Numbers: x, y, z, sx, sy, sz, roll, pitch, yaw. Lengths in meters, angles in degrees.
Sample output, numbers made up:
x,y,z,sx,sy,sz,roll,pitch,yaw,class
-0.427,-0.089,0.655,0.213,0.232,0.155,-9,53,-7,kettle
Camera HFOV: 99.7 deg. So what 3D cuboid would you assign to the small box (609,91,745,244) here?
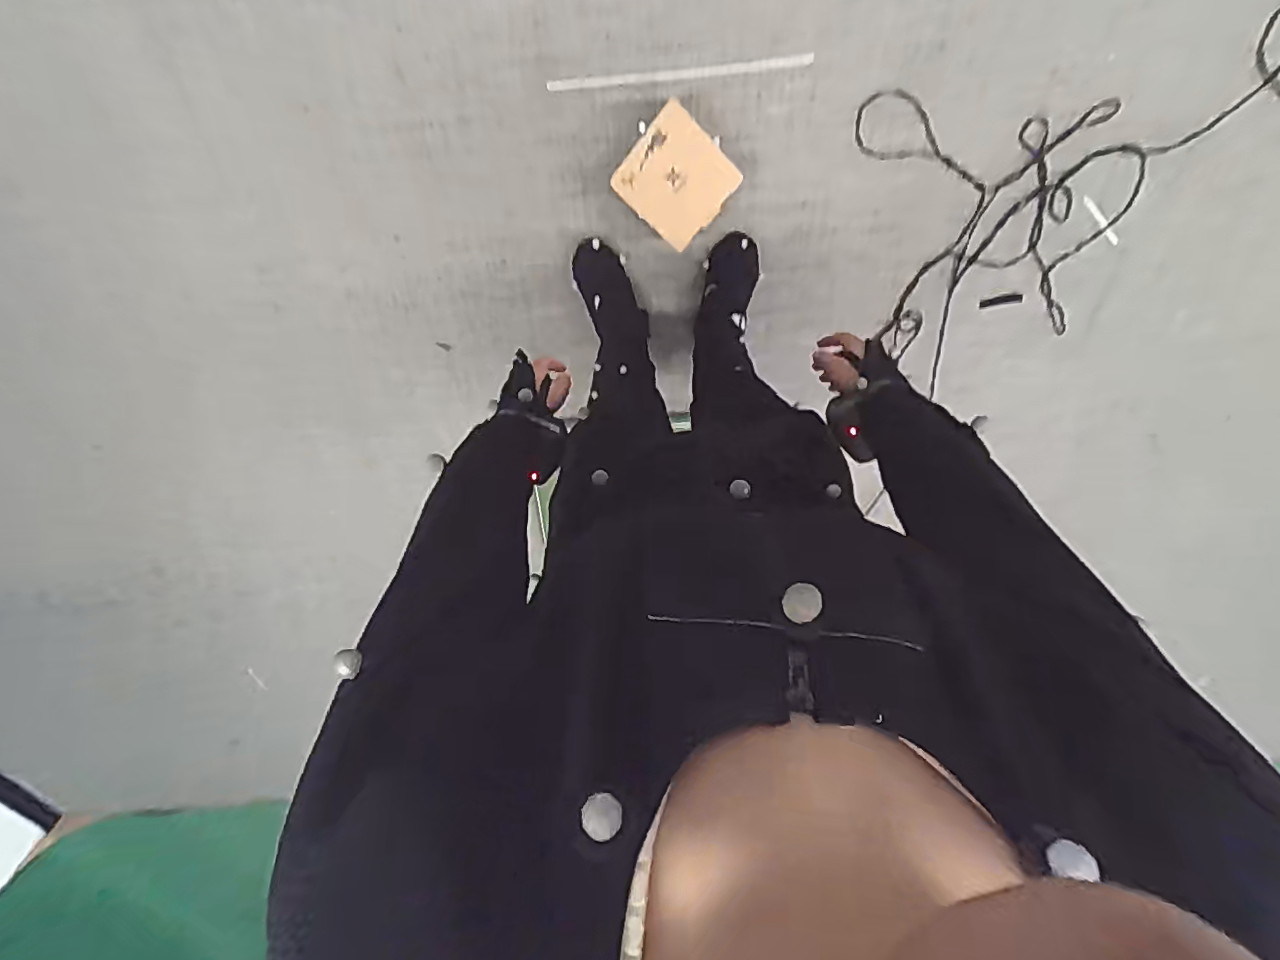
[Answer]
x,y,z,sx,sy,sz,roll,pitch,yaw,class
0.065,-0.573,0.989,0.179,0.176,0.168,36,118,-22,small box
